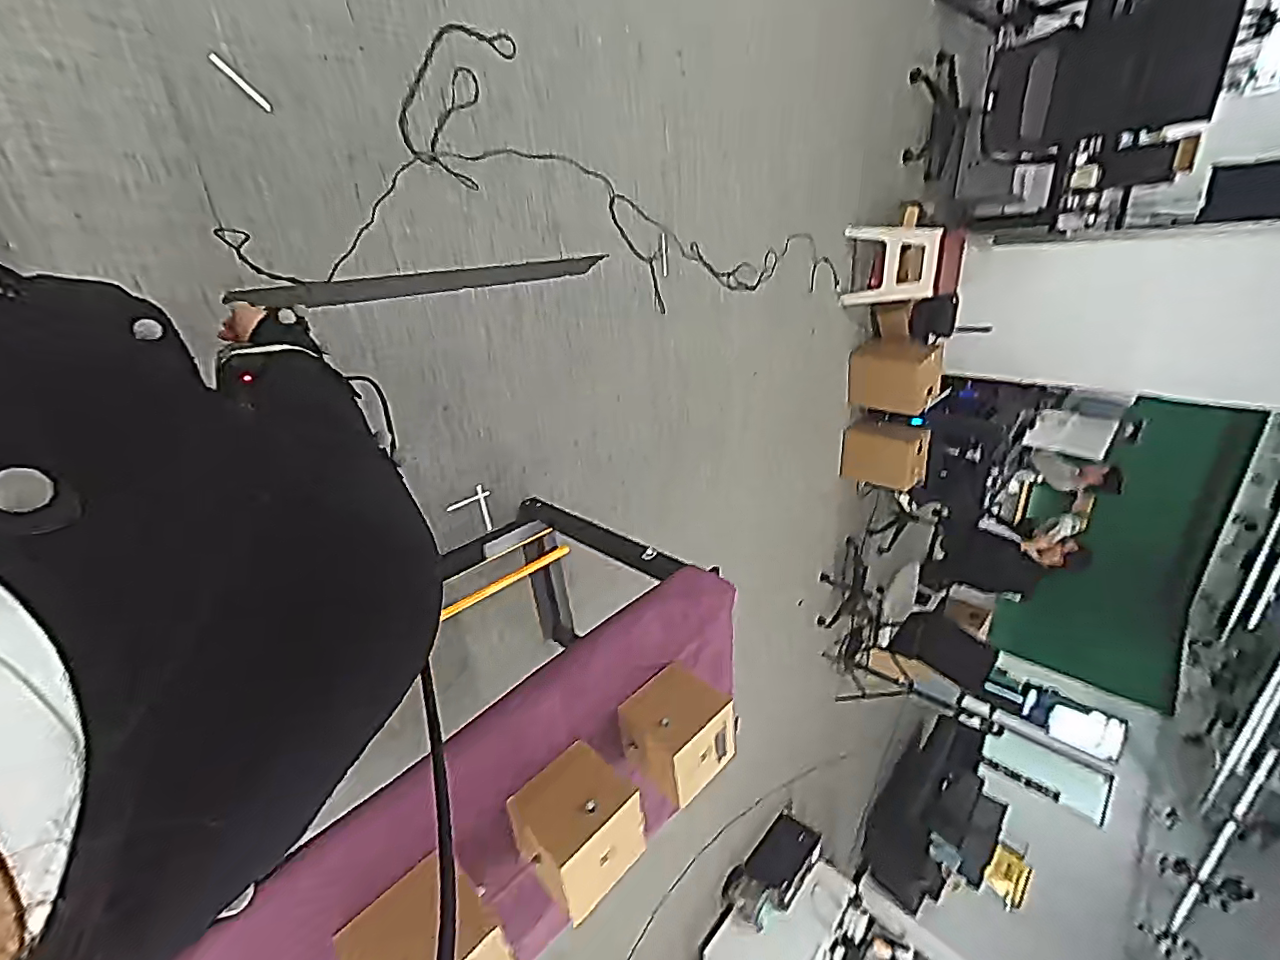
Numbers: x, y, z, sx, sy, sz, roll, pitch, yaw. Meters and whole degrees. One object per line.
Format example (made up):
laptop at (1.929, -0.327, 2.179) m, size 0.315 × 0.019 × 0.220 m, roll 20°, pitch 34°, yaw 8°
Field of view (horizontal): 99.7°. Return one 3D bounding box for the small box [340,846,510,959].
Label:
small box at (-0.313, 0.701, 0.792) m, size 0.179 × 0.176 × 0.168 m, roll -28°, pitch 125°, yaw -38°

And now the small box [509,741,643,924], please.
small box at (-0.120, 0.622, 0.976) m, size 0.179 × 0.176 × 0.168 m, roll -27°, pitch 122°, yaw -39°
